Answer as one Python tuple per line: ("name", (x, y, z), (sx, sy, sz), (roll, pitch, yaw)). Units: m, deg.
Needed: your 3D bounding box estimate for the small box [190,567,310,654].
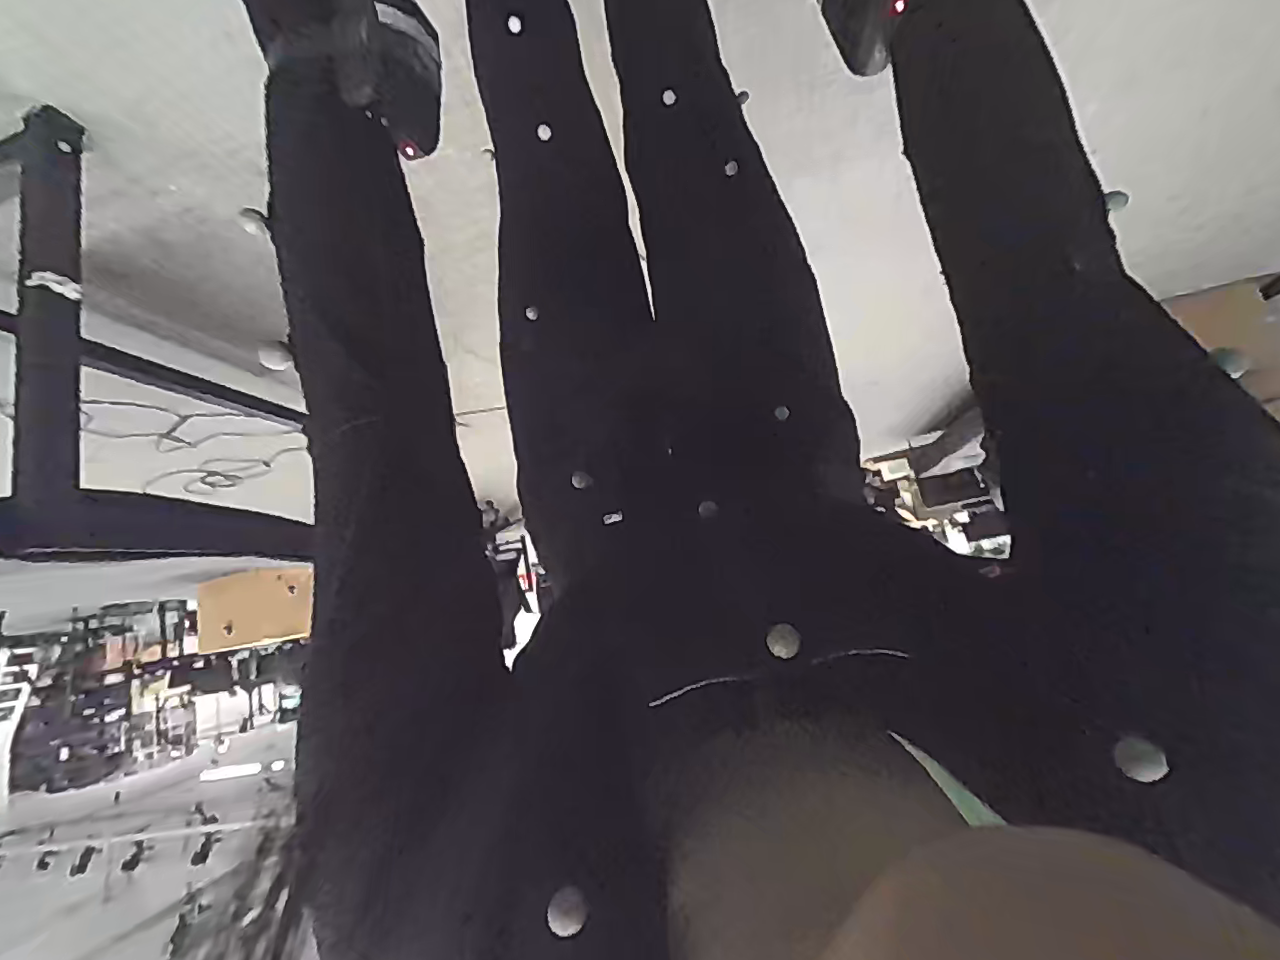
("small box", (-0.928, 0.308, 1.296), (0.179, 0.176, 0.168), (-14, 168, 11))
